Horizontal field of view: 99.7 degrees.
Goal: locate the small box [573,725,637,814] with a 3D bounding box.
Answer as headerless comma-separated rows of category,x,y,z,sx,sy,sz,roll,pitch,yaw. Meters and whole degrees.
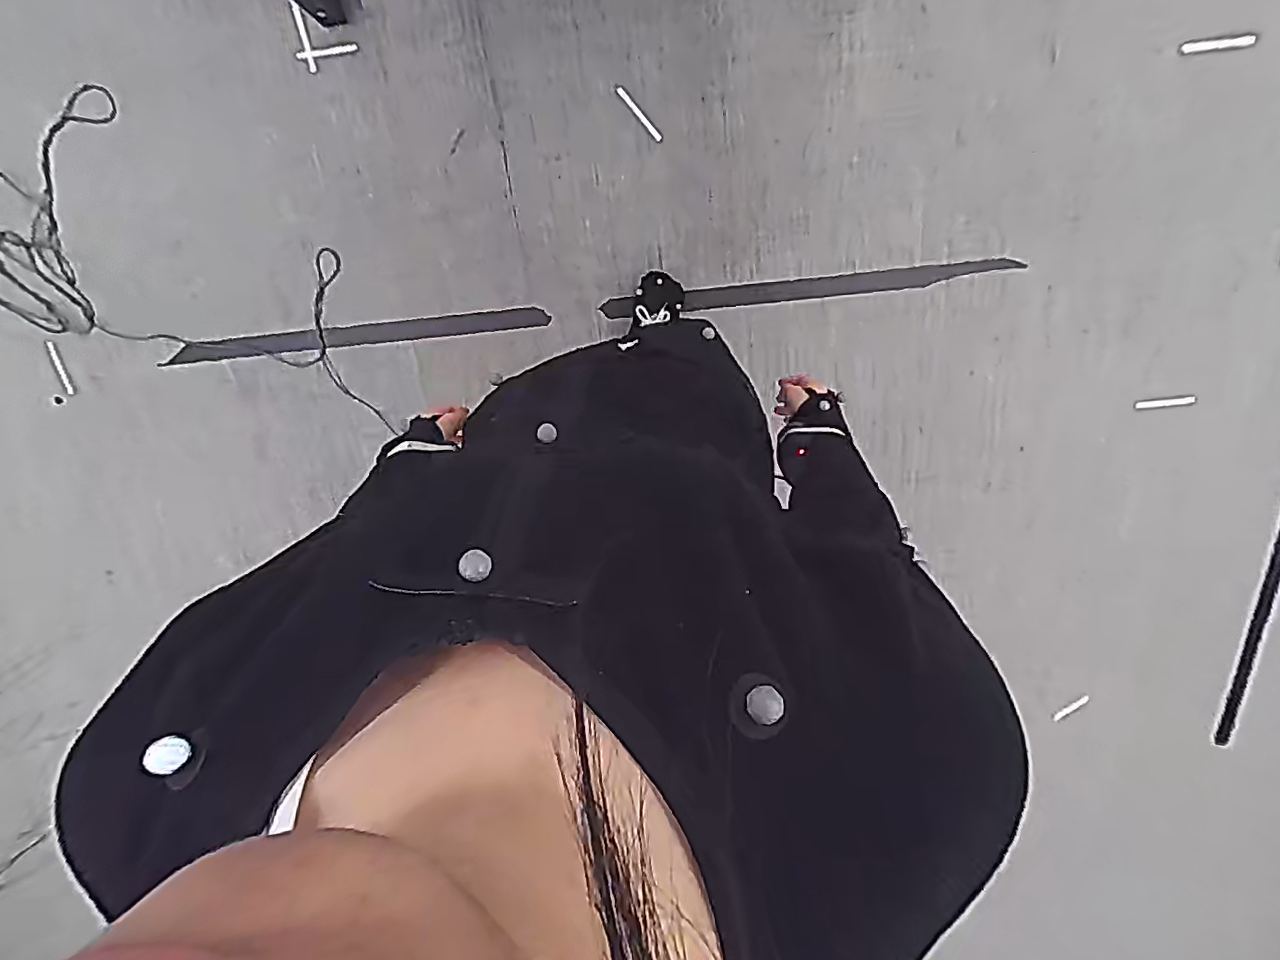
small box,-0.107,0.932,1.749,0.168,0.176,0.179,-16,108,4

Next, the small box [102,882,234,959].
small box,-0.993,0.983,1.115,0.168,0.176,0.179,41,105,-12

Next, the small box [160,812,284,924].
small box,-0.990,0.934,1.271,0.168,0.176,0.179,41,105,-12
